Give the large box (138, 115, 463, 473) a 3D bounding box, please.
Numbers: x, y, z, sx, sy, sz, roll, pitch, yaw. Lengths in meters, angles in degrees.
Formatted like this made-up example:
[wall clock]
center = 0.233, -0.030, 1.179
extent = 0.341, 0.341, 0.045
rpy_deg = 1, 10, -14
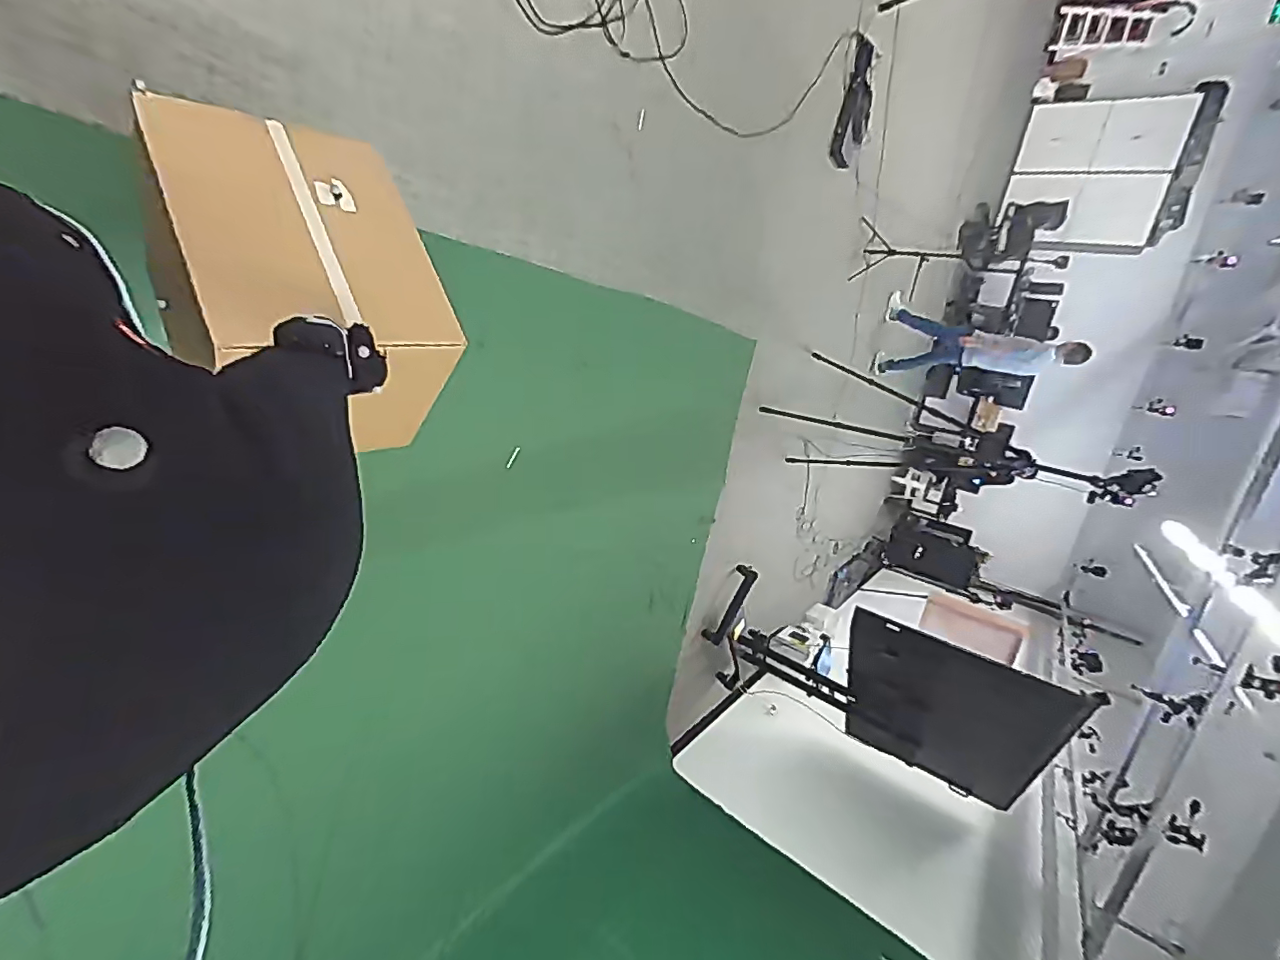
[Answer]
[large box]
center = -0.549, -0.275, 0.881
extent = 0.320, 0.408, 0.320
rpy_deg = -15, 162, -44
